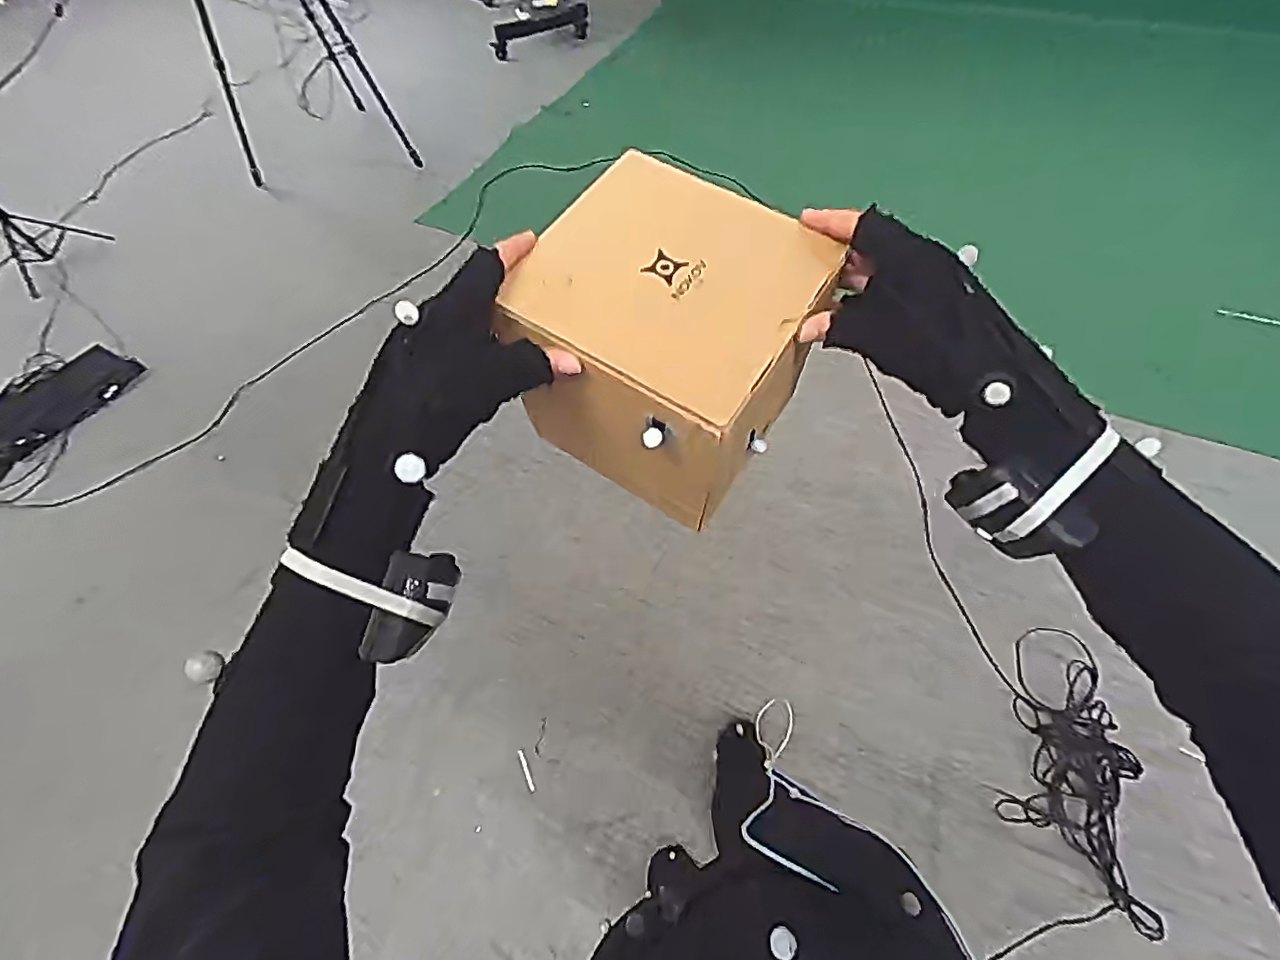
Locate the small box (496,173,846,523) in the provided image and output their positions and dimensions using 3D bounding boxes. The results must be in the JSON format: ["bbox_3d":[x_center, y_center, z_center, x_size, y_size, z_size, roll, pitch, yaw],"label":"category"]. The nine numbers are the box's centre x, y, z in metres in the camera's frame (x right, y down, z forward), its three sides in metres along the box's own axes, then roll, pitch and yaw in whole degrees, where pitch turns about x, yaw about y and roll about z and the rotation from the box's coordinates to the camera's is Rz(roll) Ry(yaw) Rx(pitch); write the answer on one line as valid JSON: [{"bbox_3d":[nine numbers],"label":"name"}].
[{"bbox_3d":[0.022,-0.092,0.425,0.179,0.176,0.168,32,69,14],"label":"small box"}]
